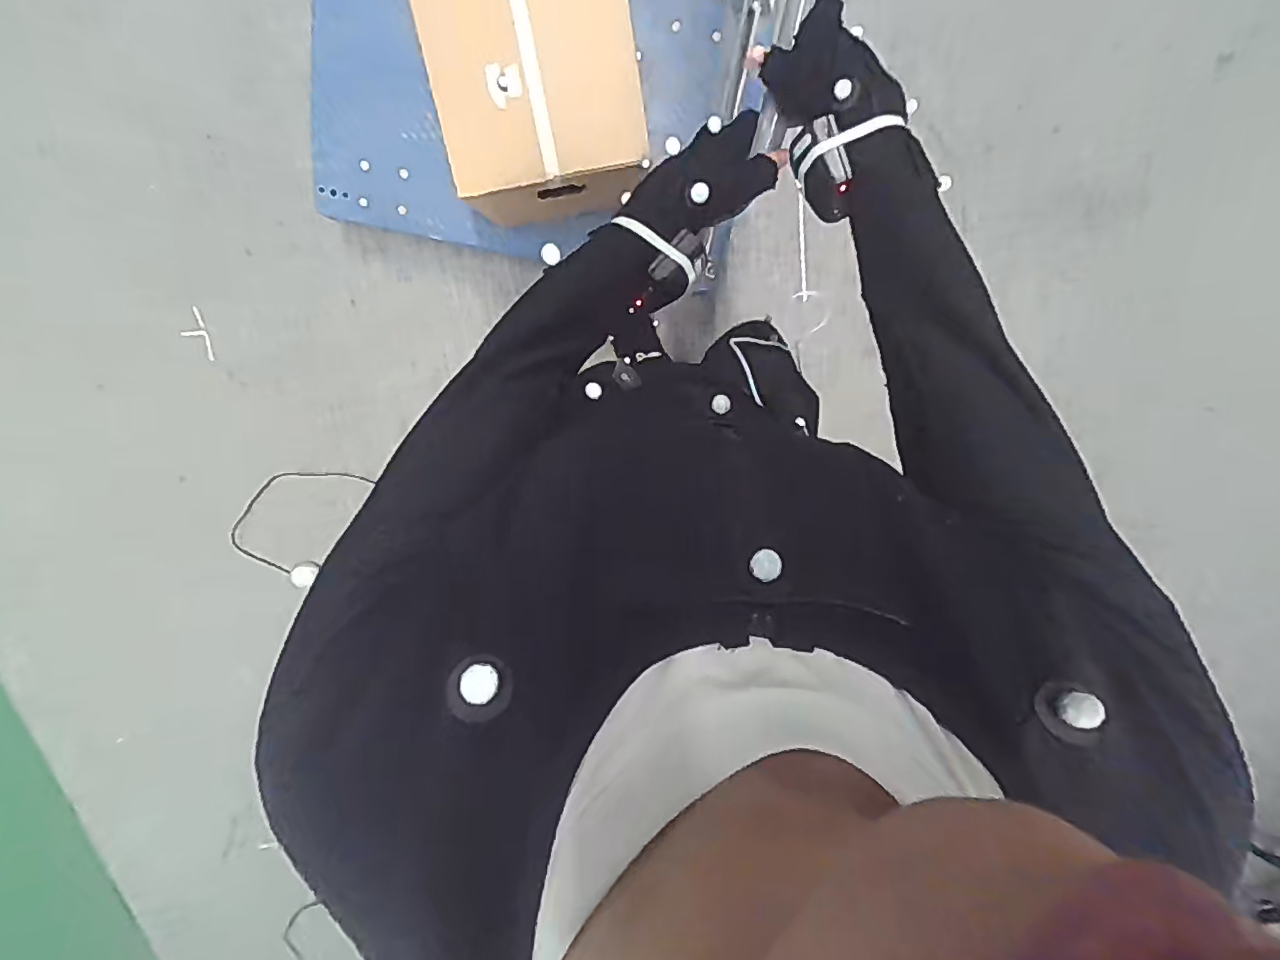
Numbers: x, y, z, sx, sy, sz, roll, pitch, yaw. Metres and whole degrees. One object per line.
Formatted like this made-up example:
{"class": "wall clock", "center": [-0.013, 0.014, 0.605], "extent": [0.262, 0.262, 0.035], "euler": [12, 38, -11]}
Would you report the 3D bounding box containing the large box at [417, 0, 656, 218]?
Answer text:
{"class": "large box", "center": [-0.163, -0.713, 0.926], "extent": [0.320, 0.320, 0.408], "euler": [-9, 108, 3]}
